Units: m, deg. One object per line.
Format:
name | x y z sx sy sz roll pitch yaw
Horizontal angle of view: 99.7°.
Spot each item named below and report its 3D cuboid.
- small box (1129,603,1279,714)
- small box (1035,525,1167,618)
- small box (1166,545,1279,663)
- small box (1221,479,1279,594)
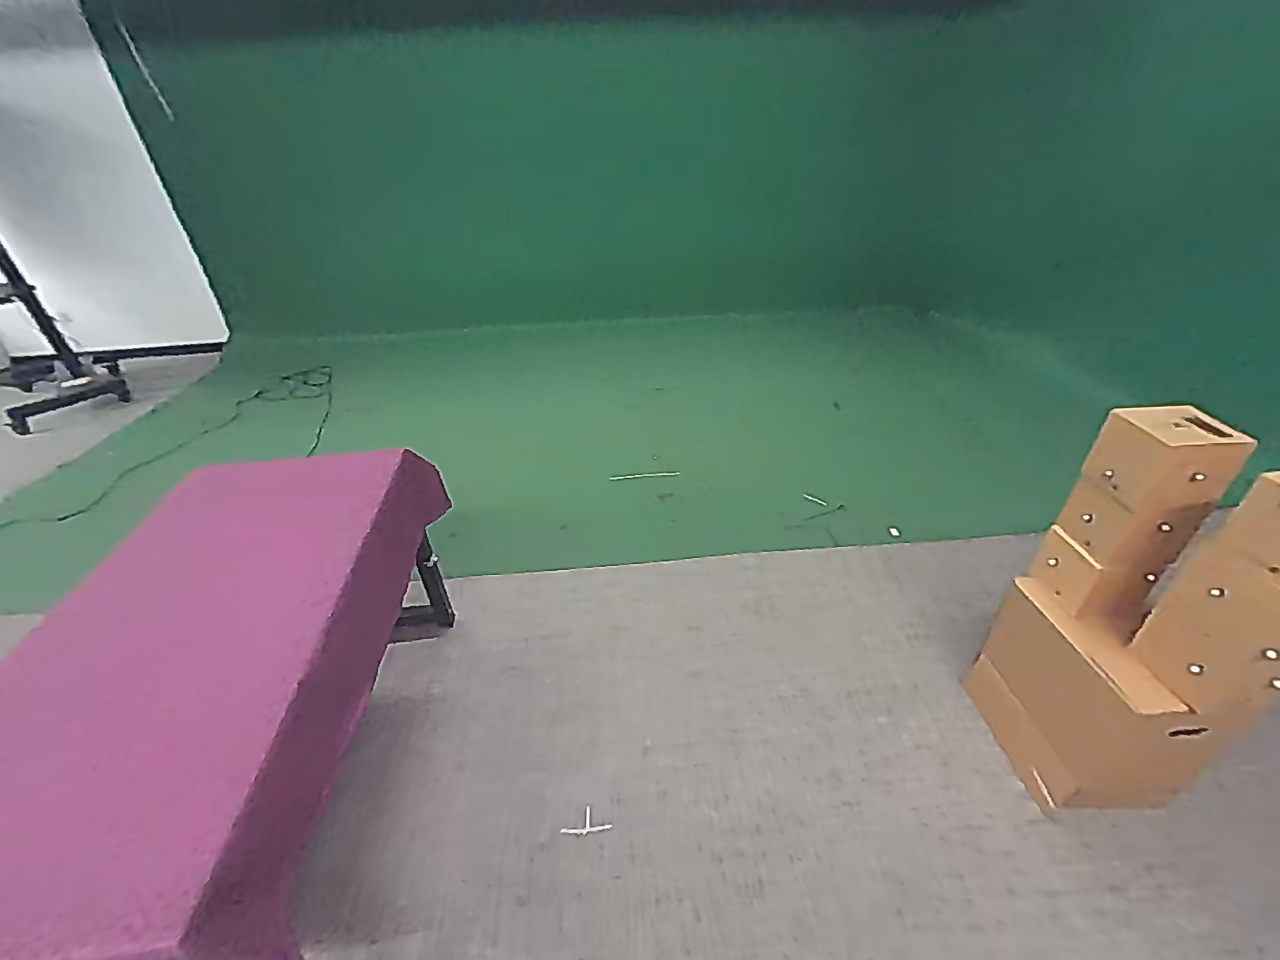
small box | 1.223 0.379 1.155 0.168 0.176 0.179 -4 32 -4
small box | 1.148 0.234 1.370 0.179 0.176 0.168 -3 35 -2
small box | 1.220 0.243 1.063 0.168 0.176 0.179 -3 32 -3
small box | 1.230 0.109 0.967 0.179 0.176 0.168 -4 33 -5
